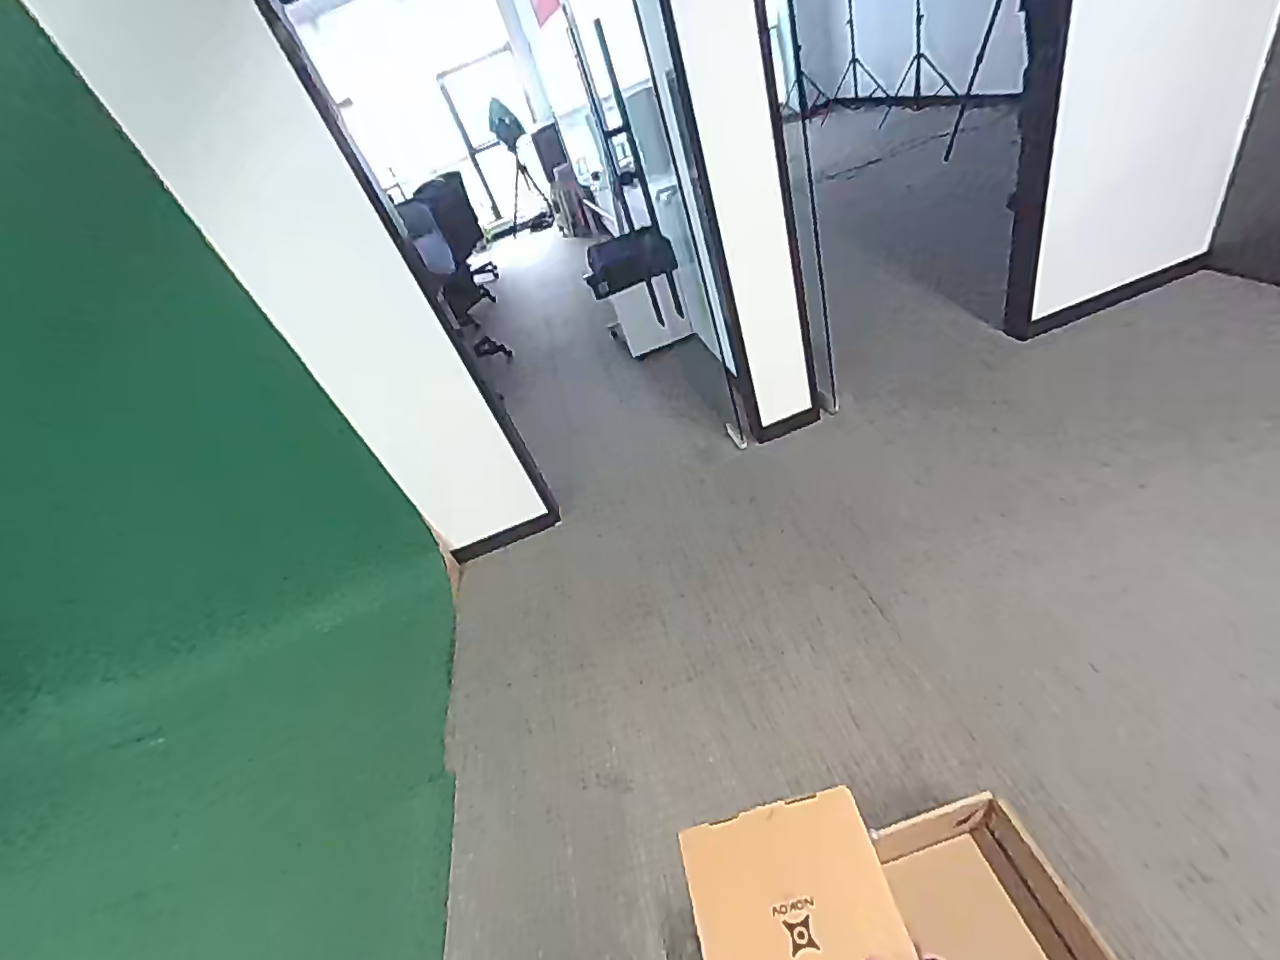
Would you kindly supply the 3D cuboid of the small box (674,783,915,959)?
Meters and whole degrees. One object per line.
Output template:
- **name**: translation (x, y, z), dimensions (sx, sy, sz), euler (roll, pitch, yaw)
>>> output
- **small box**: translation (0.139, 0.407, 0.496), dimensions (0.168, 0.176, 0.179), euler (-16, 49, 1)
